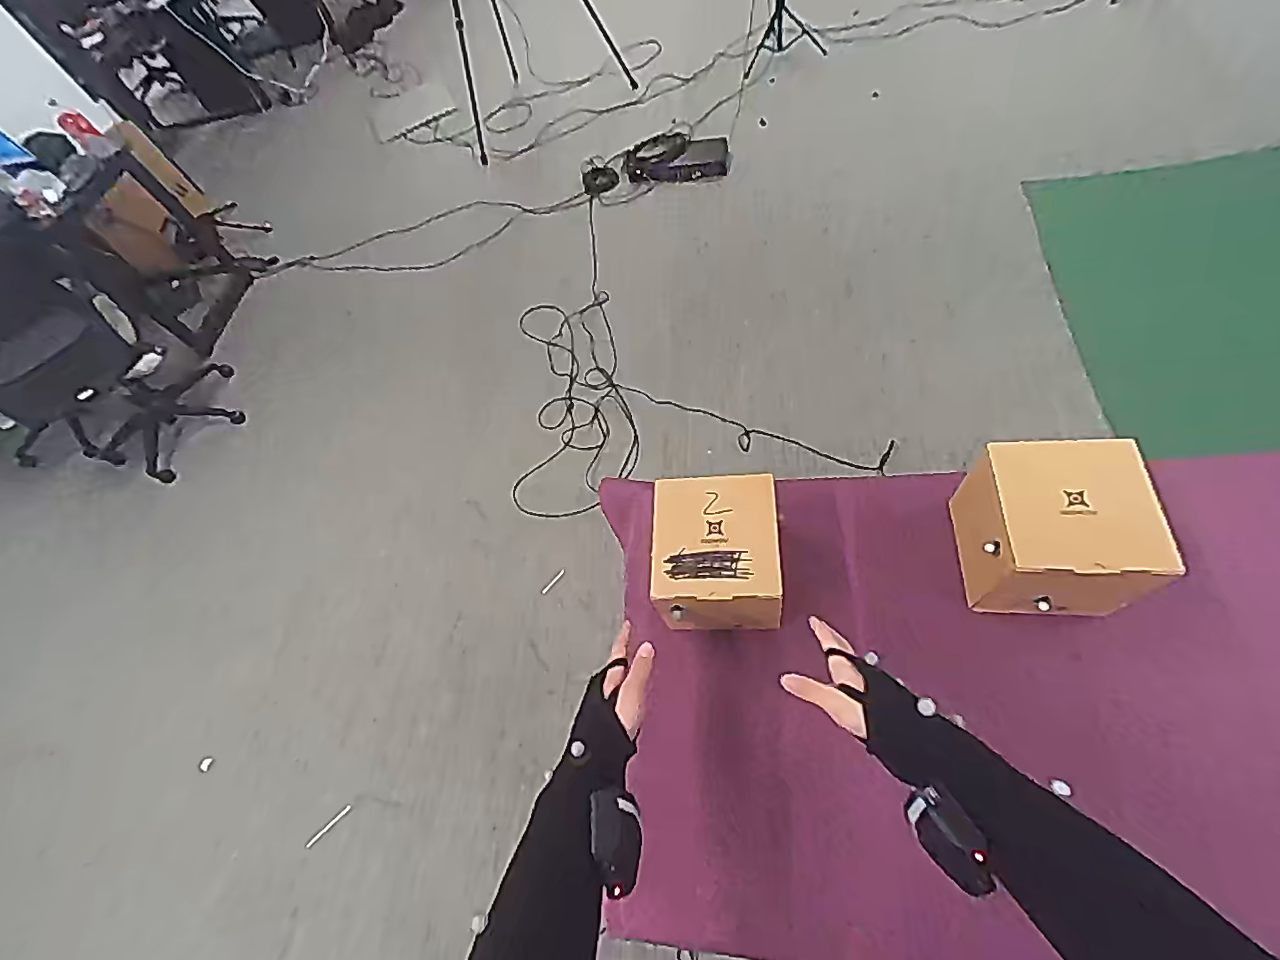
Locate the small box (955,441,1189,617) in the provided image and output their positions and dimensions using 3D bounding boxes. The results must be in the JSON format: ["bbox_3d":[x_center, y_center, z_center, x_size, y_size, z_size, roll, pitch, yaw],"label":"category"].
[{"bbox_3d":[0.534,0.067,0.704,0.168,0.176,0.179,0,62,12],"label":"small box"}]
